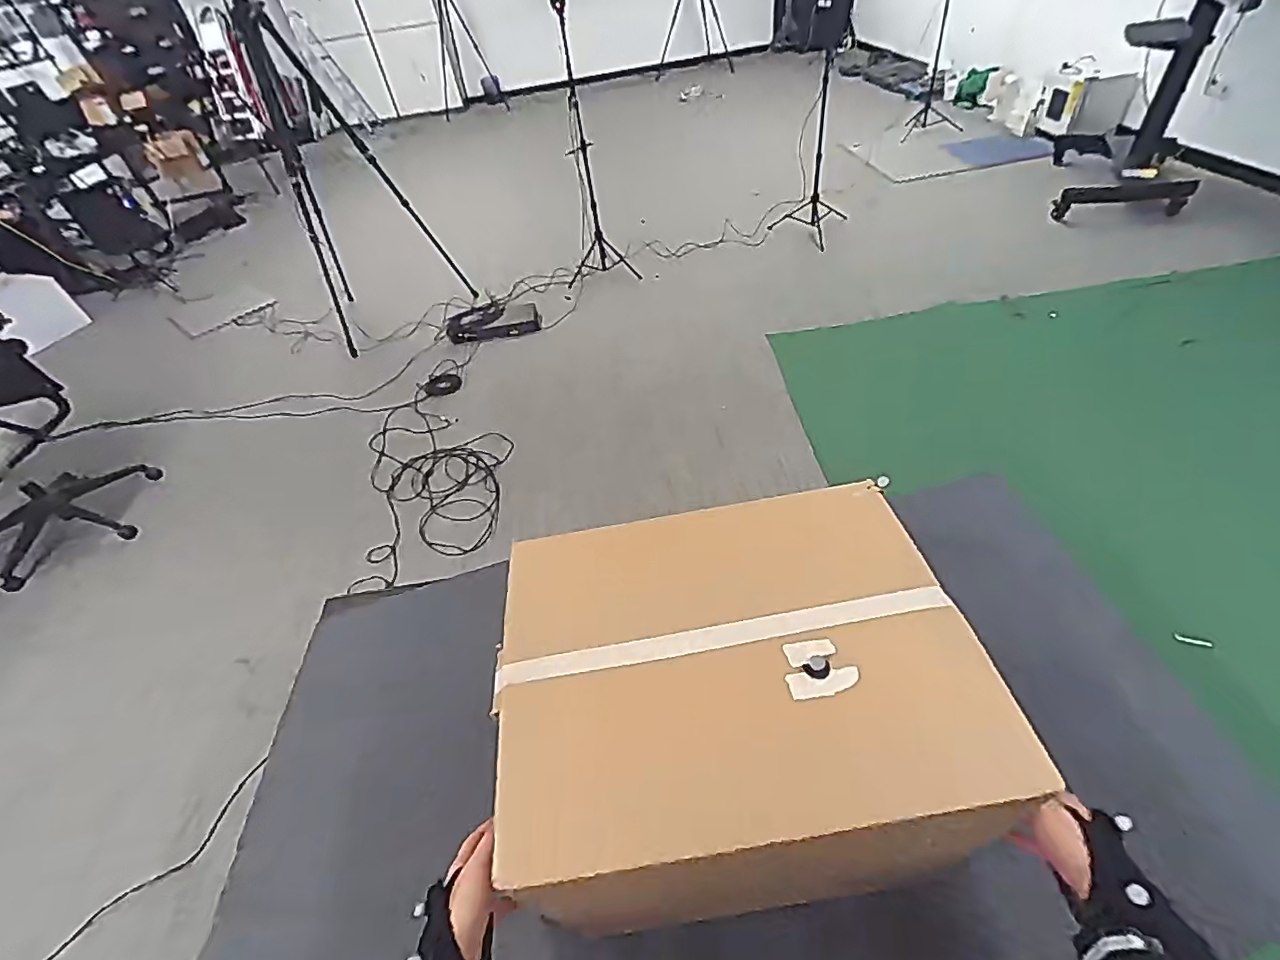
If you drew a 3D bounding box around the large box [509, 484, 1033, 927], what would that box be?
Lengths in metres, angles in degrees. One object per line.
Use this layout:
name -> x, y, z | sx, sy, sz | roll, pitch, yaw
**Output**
large box -> 0.094, 0.249, 0.602 | 0.408, 0.320, 0.320 | -10, 45, -1
